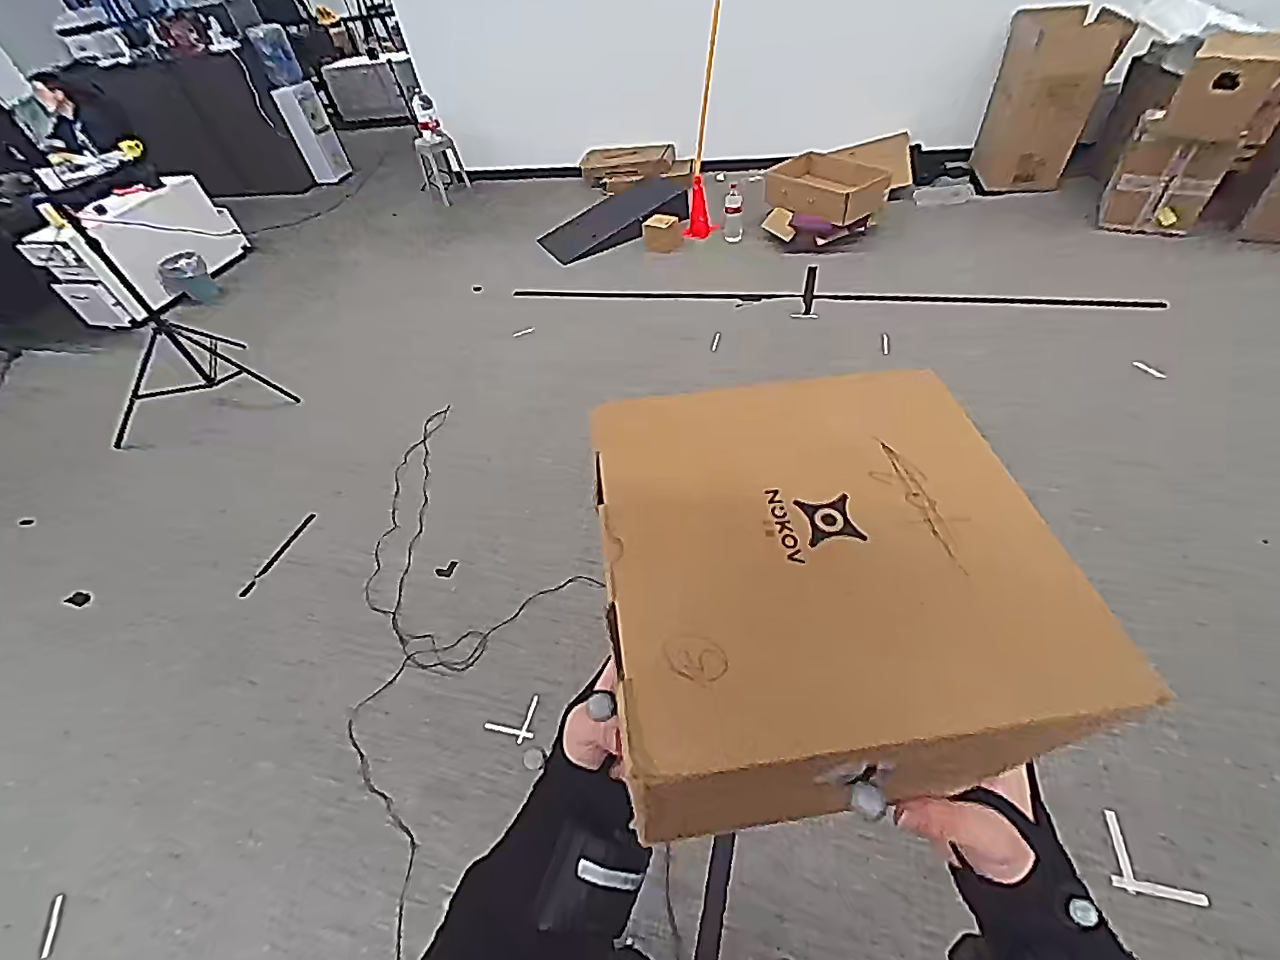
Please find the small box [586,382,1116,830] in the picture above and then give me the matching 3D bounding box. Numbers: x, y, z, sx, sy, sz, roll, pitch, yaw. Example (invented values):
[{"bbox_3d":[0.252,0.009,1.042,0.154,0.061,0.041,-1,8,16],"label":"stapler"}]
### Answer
[{"bbox_3d":[0.072,0.072,0.291,0.179,0.176,0.168,-7,51,-5],"label":"small box"}]
